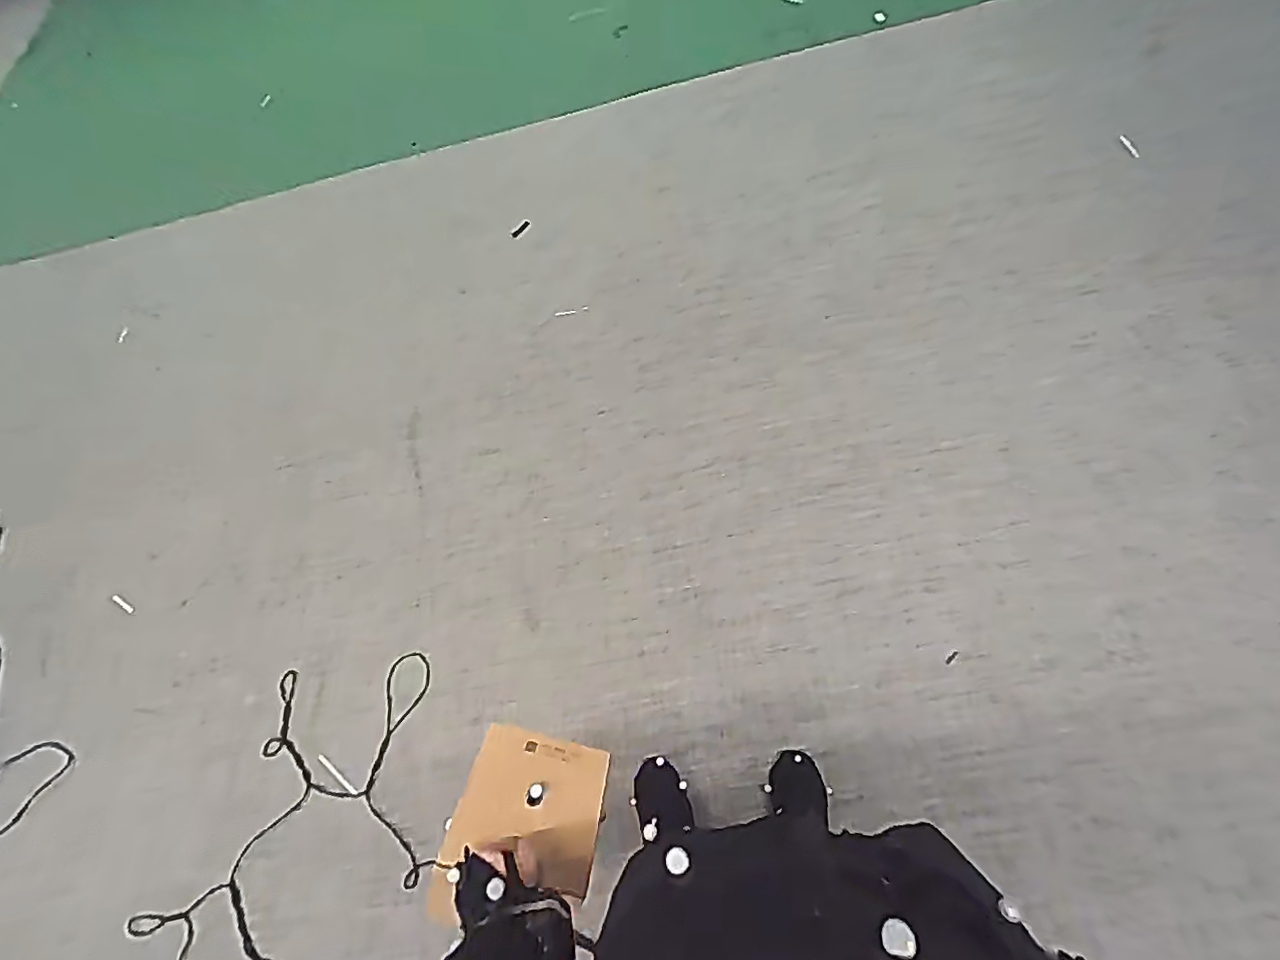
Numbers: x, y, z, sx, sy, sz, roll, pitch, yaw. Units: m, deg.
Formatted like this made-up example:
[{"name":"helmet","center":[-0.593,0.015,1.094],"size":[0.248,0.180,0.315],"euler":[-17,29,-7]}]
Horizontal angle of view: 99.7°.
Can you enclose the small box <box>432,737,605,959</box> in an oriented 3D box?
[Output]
[{"name":"small box","center":[-0.145,0.458,0.681],"size":[0.168,0.179,0.176],"euler":[14,30,-2]}]
